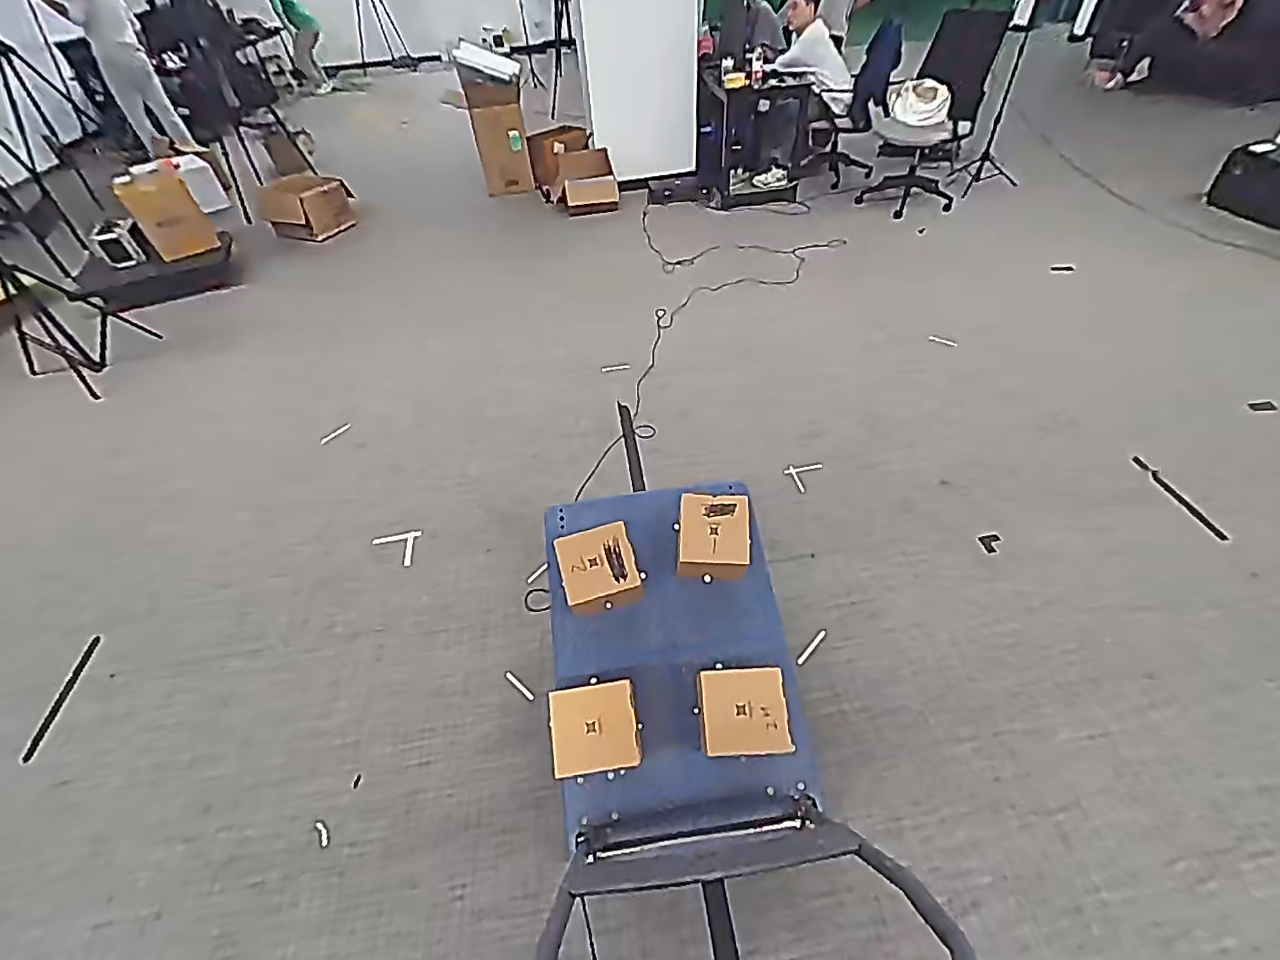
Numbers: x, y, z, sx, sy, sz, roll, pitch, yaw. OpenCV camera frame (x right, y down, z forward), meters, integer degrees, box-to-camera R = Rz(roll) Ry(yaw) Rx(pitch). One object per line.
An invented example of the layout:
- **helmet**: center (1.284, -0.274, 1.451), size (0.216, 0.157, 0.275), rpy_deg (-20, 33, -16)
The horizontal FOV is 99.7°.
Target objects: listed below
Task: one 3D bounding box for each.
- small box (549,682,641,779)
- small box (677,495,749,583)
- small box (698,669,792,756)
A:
- **small box**: center (-0.095, 0.549, 1.189), size (0.179, 0.176, 0.168), rpy_deg (-8, 65, -4)
- **small box**: center (0.179, 0.151, 1.363), size (0.168, 0.176, 0.179), rpy_deg (2, 67, 3)
- **small box**: center (0.221, 0.516, 1.195), size (0.179, 0.176, 0.168), rpy_deg (-3, 66, 0)
